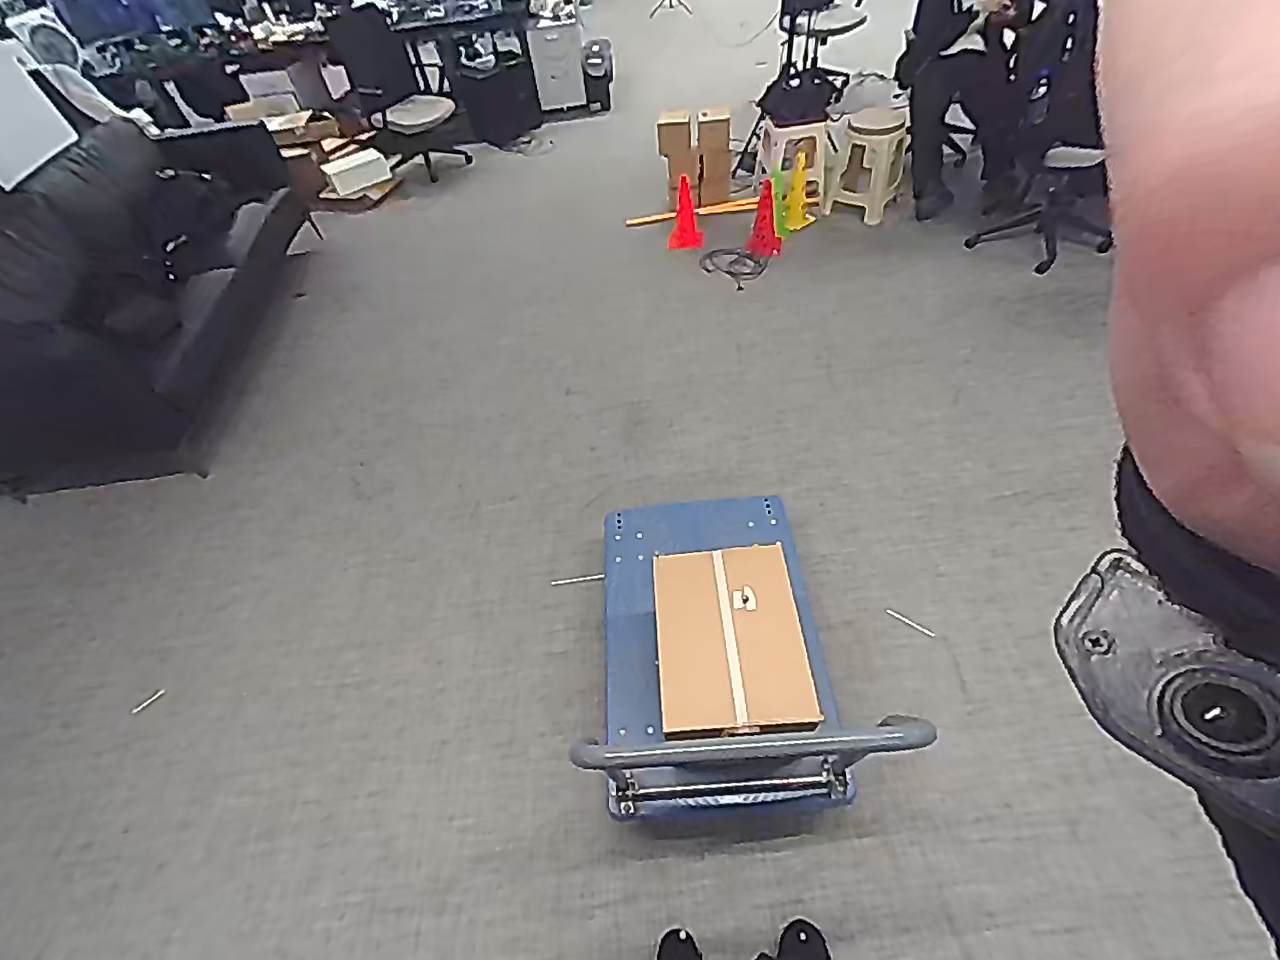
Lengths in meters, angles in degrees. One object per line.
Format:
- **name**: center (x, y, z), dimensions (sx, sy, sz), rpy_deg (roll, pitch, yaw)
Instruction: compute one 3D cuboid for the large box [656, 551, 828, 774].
- **large box**: center (0.218, 0.433, 1.280), dimensions (0.320, 0.320, 0.408), rpy_deg (-6, 50, 3)
